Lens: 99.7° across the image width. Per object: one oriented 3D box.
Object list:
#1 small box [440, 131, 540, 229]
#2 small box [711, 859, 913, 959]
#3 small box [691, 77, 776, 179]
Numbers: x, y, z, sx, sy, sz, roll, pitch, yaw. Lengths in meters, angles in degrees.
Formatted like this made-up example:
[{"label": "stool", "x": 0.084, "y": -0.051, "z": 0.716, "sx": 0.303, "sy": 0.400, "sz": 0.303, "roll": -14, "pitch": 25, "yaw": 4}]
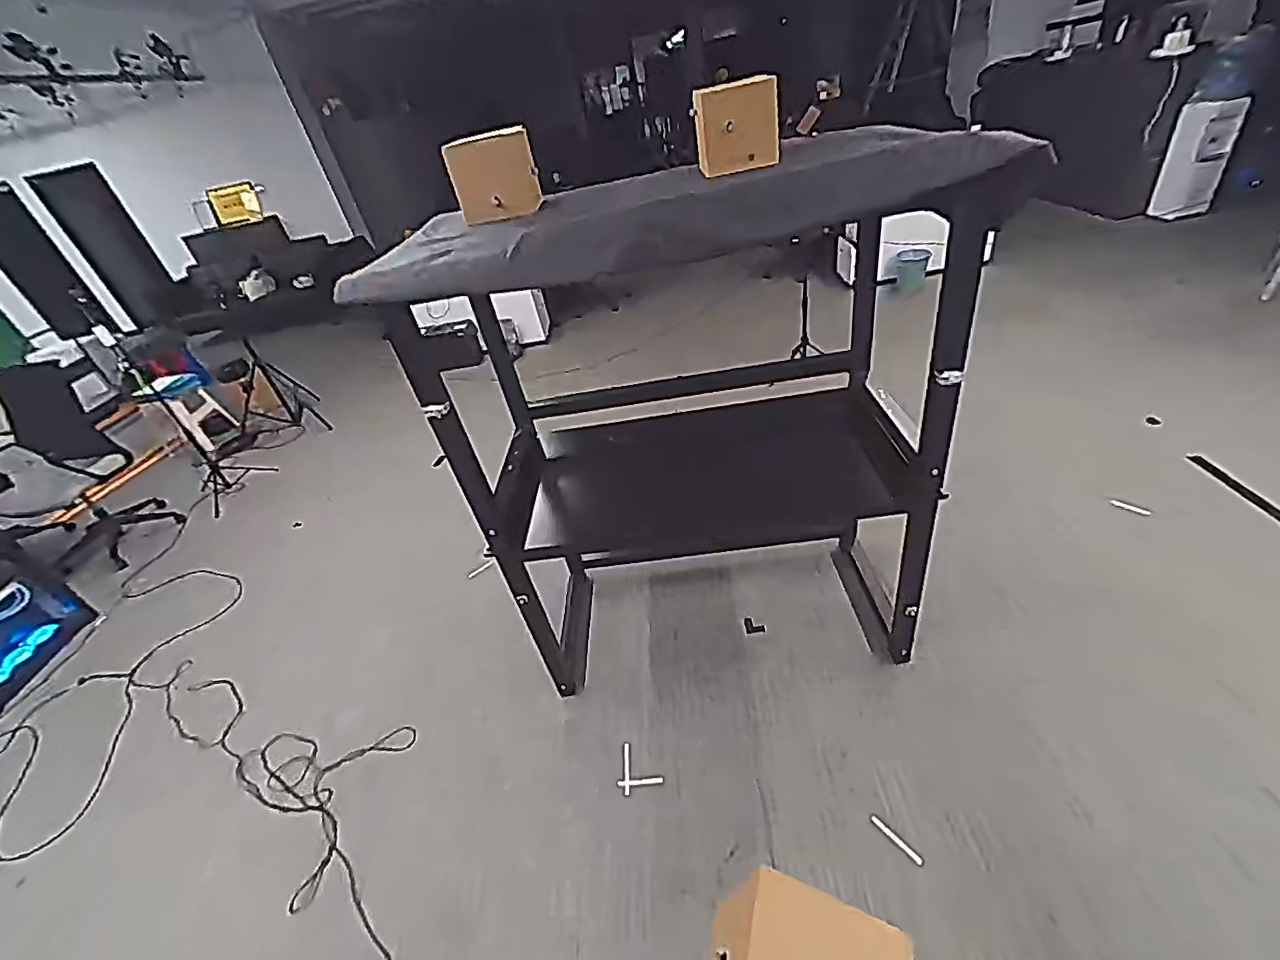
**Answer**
[{"label": "small box", "x": -0.351, "y": -0.726, "z": 1.308, "sx": 0.179, "sy": 0.176, "sz": 0.168, "roll": -9, "pitch": 36, "yaw": 4}, {"label": "small box", "x": 0.171, "y": 0.561, "z": 0.582, "sx": 0.179, "sy": 0.176, "sz": 0.168, "roll": 22, "pitch": 38, "yaw": 8}, {"label": "small box", "x": 0.217, "y": -0.816, "z": 1.260, "sx": 0.168, "sy": 0.176, "sz": 0.179, "roll": -9, "pitch": 36, "yaw": 5}]
